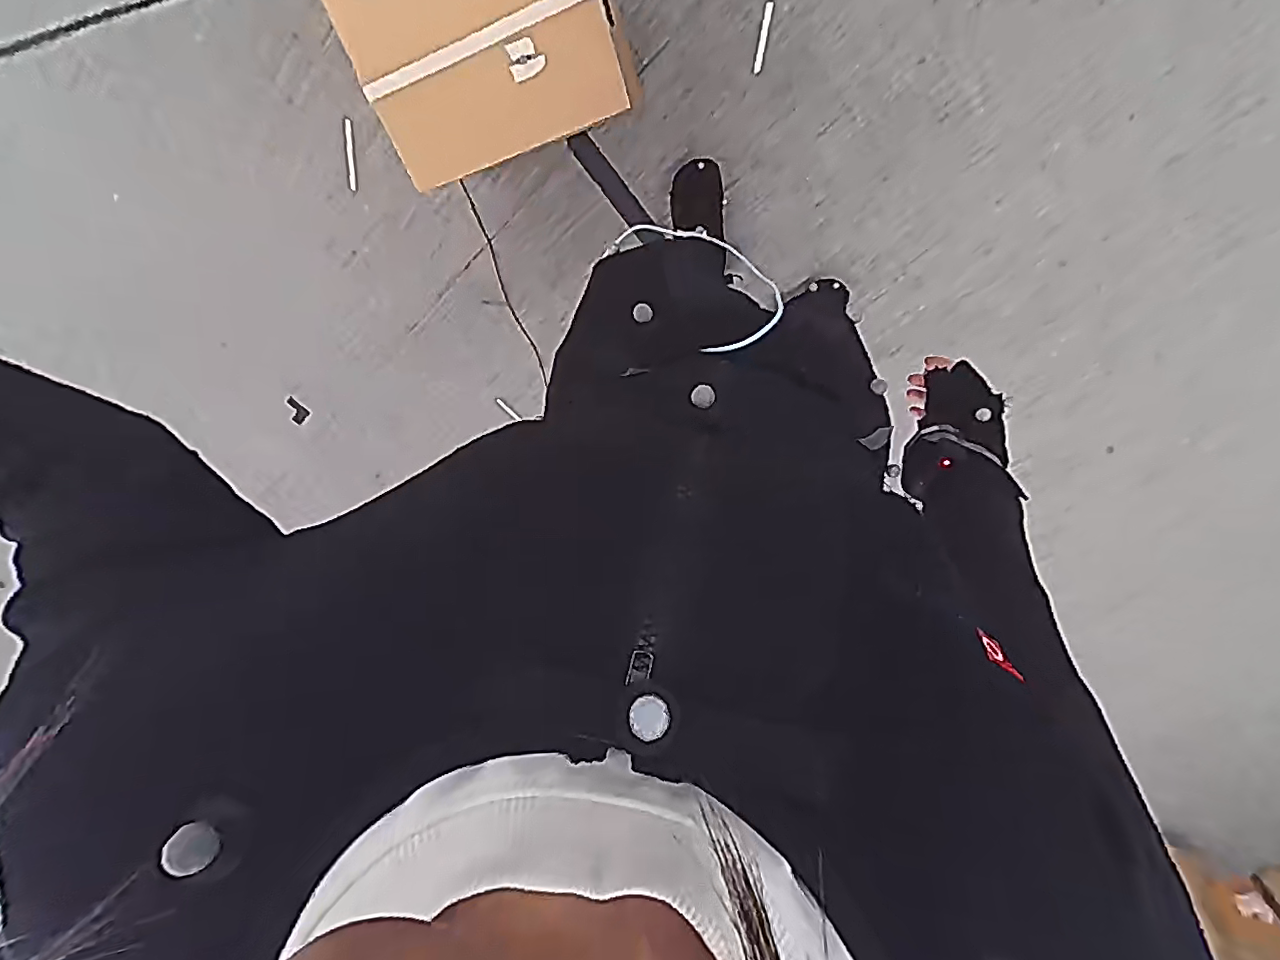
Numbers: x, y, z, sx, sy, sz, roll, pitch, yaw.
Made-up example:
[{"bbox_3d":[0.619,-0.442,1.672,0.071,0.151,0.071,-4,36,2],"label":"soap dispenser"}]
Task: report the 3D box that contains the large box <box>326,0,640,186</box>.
[{"bbox_3d":[-0.242,-0.767,0.947,0.408,0.320,0.320,-13,124,14],"label":"large box"}]
